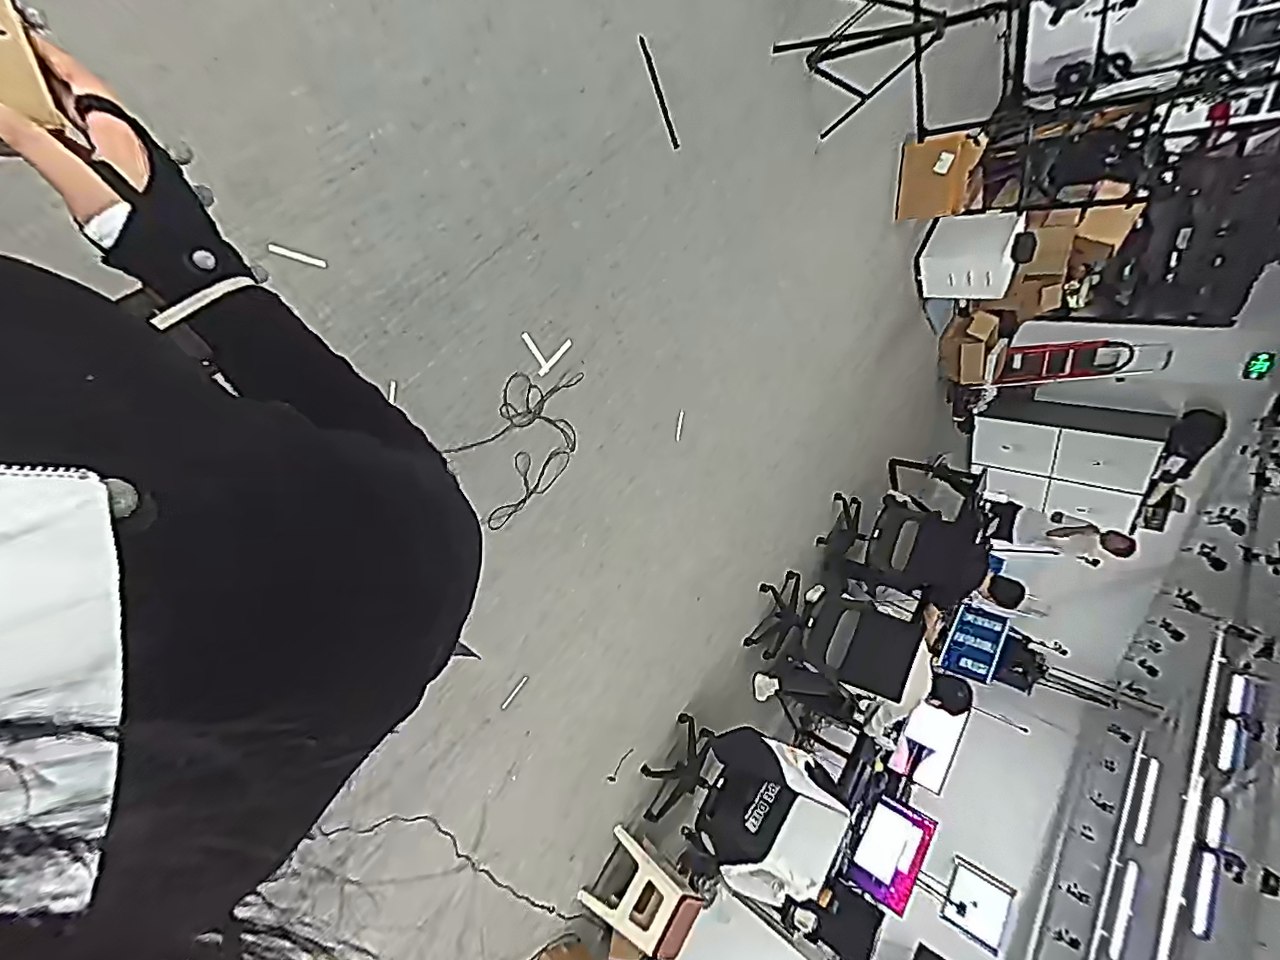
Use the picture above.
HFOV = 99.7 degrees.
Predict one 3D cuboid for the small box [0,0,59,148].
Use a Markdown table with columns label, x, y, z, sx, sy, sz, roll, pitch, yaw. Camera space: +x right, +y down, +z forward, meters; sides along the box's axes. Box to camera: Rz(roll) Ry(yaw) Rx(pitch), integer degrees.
| label | x | y | z | sx | sy | sz | roll | pitch | yaw |
| --- | --- | --- | --- | --- | --- | --- | --- | --- | --- |
| small box | -0.498 | -0.302 | 0.317 | 0.179 | 0.176 | 0.168 | -23 | 123 | -37 |
